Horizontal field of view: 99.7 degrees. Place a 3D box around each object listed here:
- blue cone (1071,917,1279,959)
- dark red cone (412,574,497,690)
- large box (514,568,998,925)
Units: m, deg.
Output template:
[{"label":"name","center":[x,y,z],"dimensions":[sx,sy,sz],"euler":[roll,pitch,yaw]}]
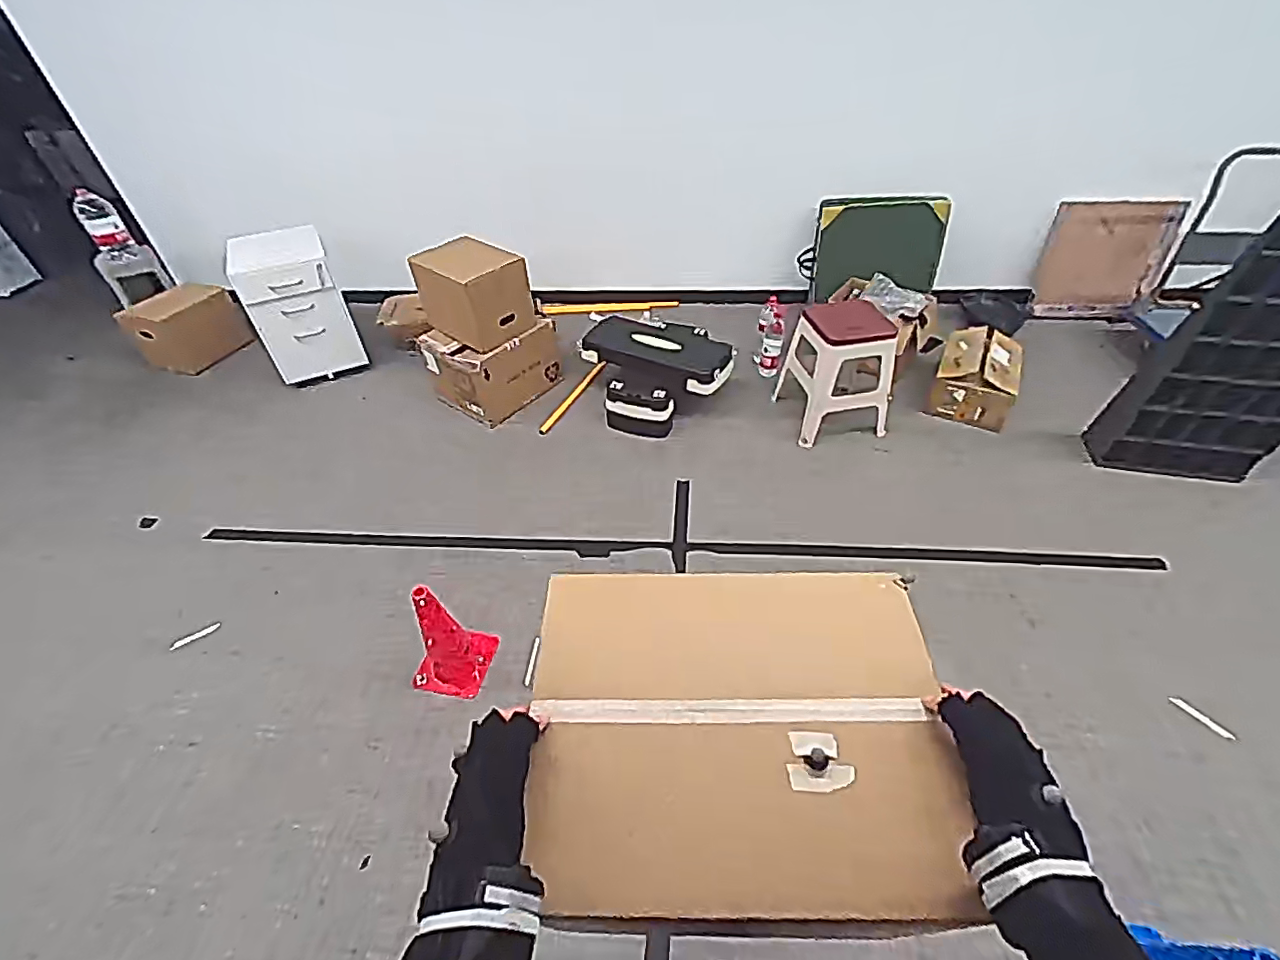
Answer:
[{"label":"blue cone","center":[0.969,0.864,0.946],"dimensions":[0.192,0.380,0.193],"euler":[5,44,7]},{"label":"dark red cone","center":[-0.544,0.392,1.474],"dimensions":[0.201,0.394,0.202],"euler":[7,44,8]},{"label":"large box","center":[0.095,0.320,0.646],"dimensions":[0.408,0.320,0.320],"euler":[-1,48,1]}]
